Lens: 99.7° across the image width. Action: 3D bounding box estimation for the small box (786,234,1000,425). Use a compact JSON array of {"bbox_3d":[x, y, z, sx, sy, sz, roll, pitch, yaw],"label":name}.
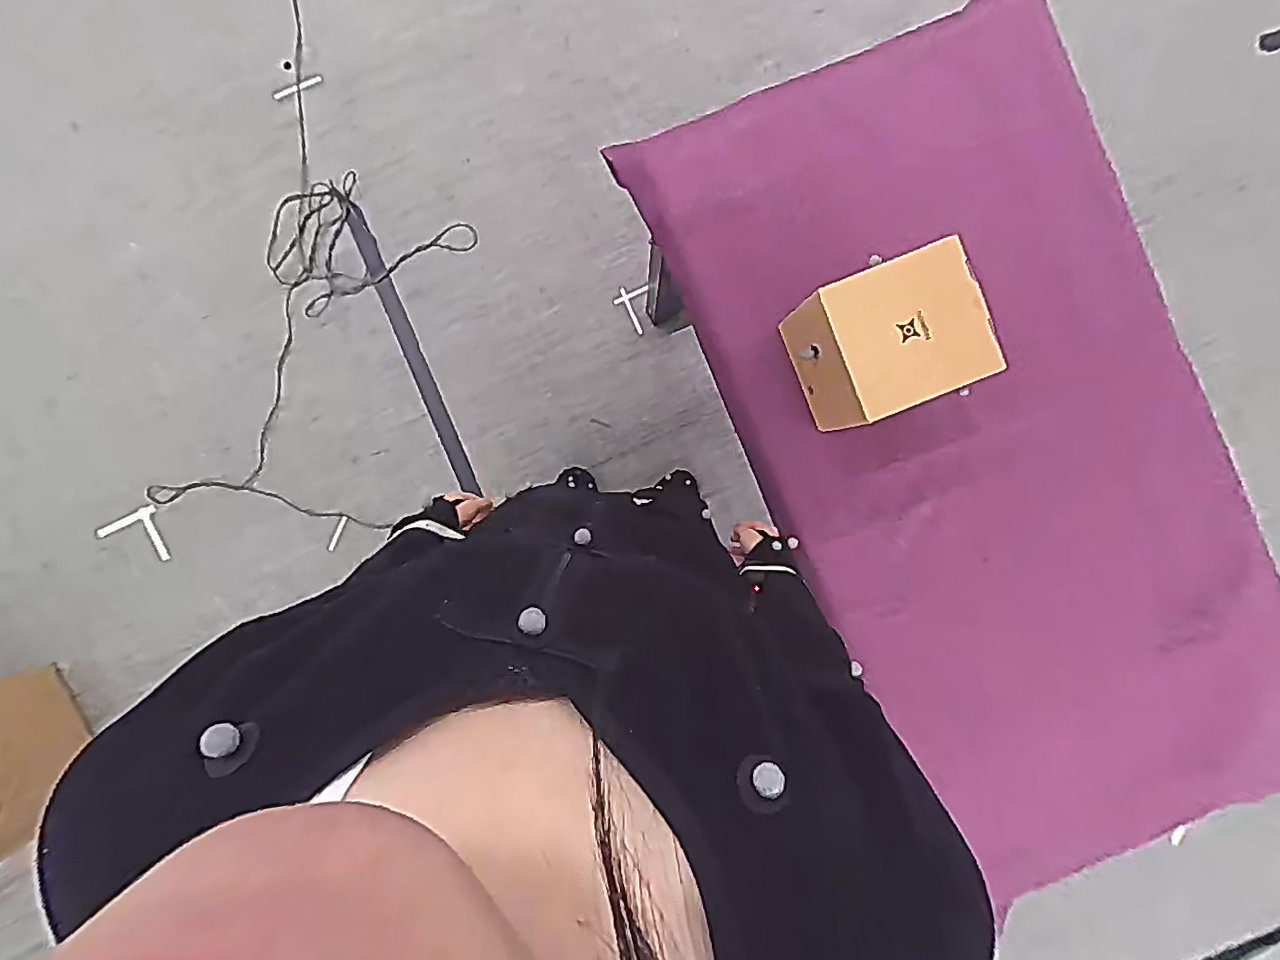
[{"bbox_3d":[0.308,-0.179,0.704,0.179,0.176,0.168,-22,92,-1],"label":"small box"}]
